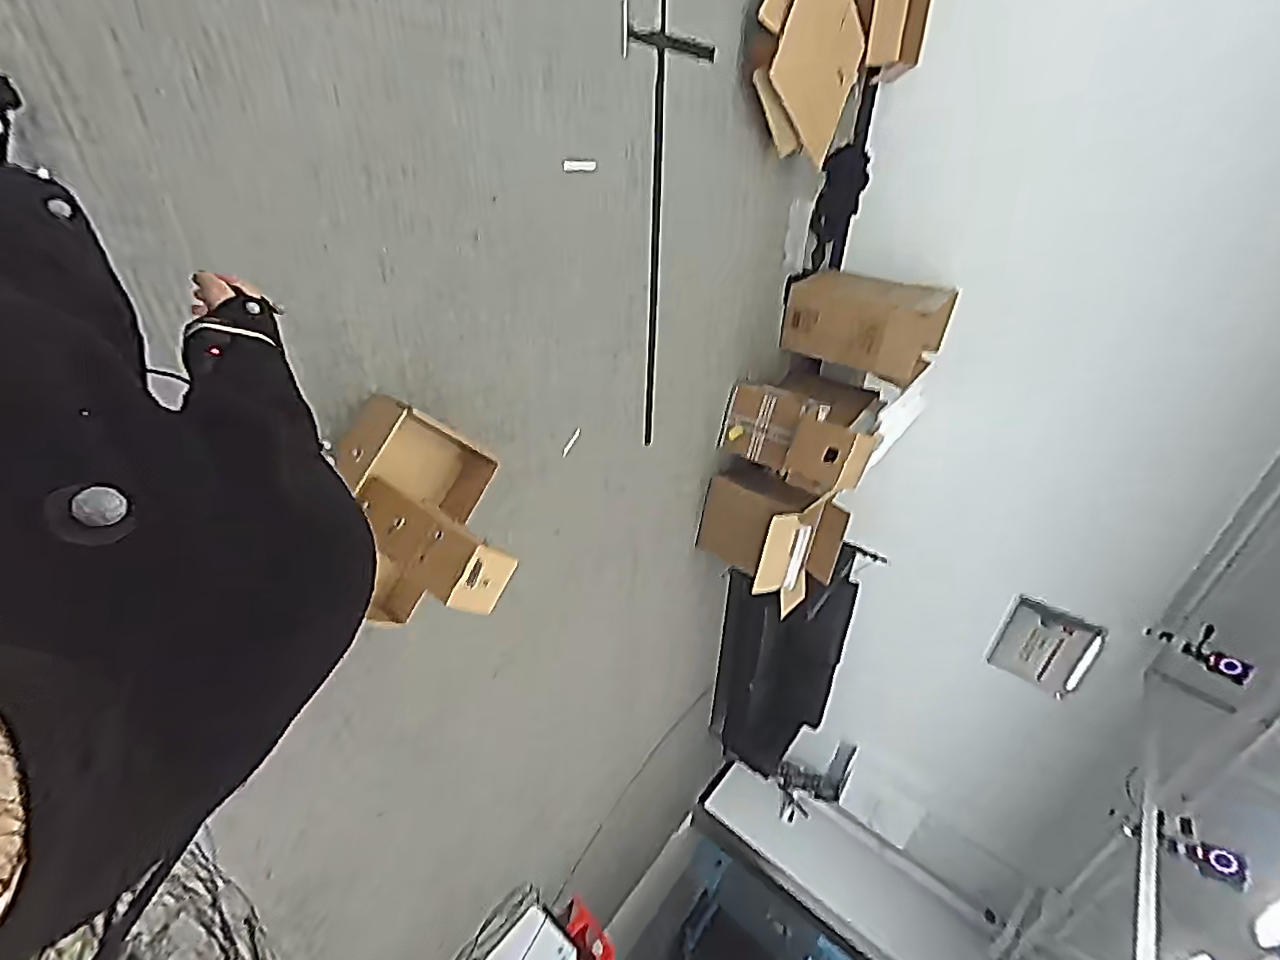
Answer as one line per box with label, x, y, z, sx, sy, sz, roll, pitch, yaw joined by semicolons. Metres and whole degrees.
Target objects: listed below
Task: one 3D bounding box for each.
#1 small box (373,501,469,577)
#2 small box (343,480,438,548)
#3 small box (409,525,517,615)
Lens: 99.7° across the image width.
small box;-0.602;0.179;1.517;0.168;0.176;0.179;-61;147;-9
small box;-0.728;0.121;1.601;0.168;0.176;0.179;-60;148;-10
small box;-0.472;0.236;1.435;0.168;0.176;0.179;-61;149;-8
